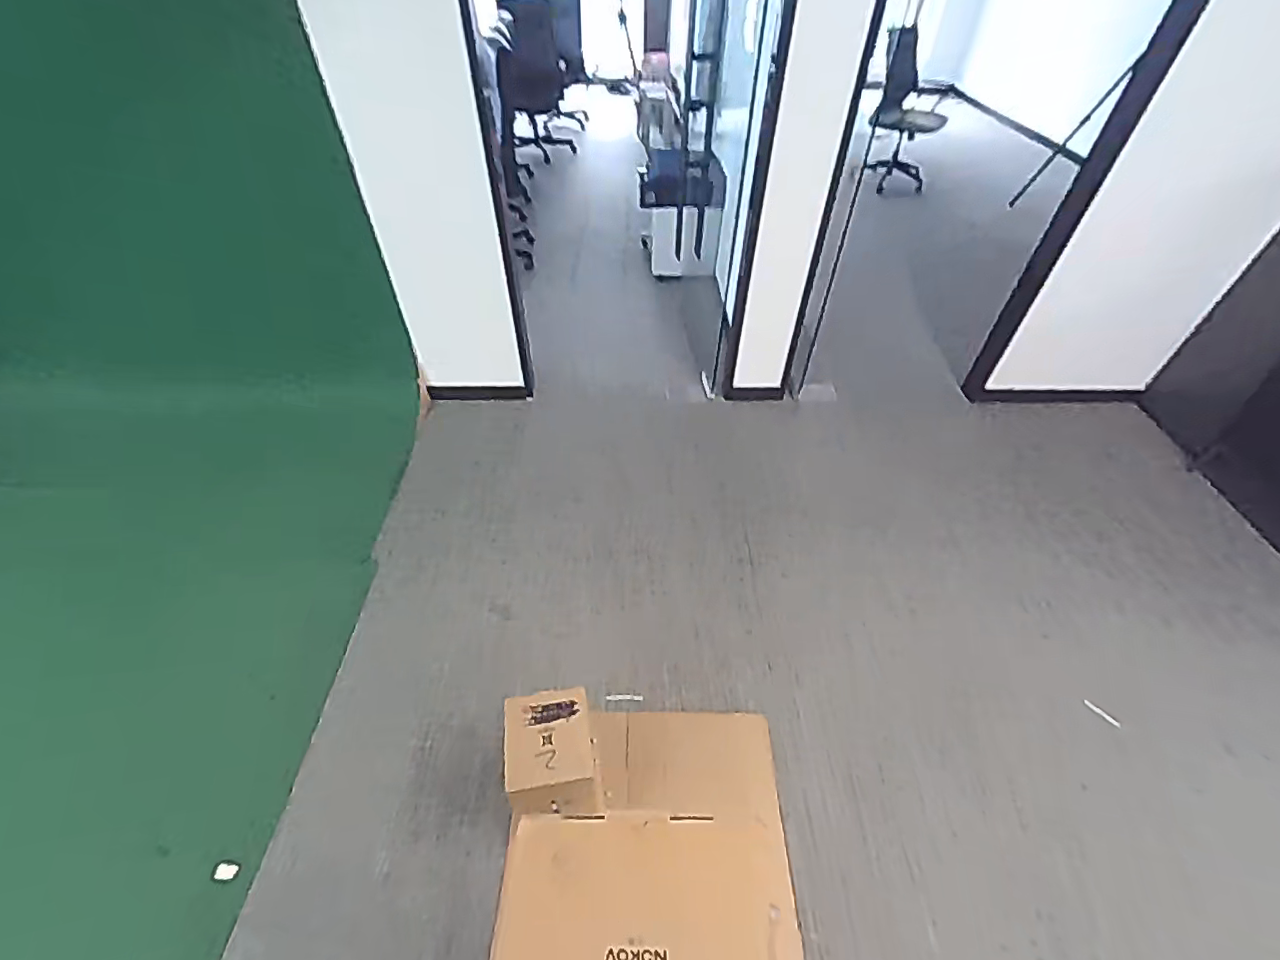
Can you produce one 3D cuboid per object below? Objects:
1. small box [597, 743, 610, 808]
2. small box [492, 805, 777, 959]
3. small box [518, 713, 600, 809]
[{"bbox_3d":[-0.161,0.780,1.339,0.168,0.176,0.179,-5,46,-5],"label":"small box"},{"bbox_3d":[-0.001,0.337,0.355,0.168,0.176,0.179,-1,45,3],"label":"small box"},{"bbox_3d":[-0.179,0.655,1.231,0.168,0.176,0.179,-3,46,-6],"label":"small box"}]
